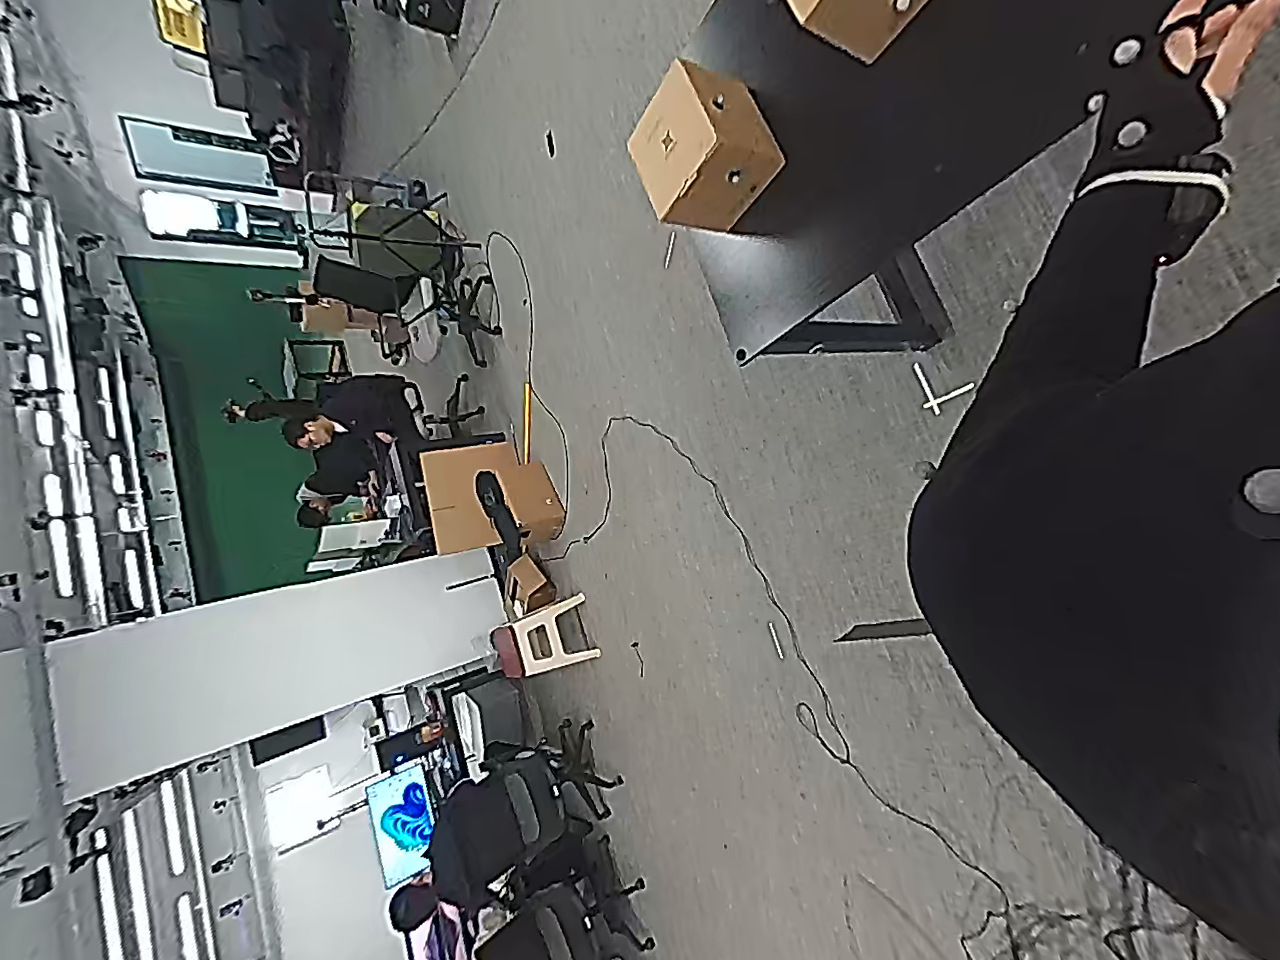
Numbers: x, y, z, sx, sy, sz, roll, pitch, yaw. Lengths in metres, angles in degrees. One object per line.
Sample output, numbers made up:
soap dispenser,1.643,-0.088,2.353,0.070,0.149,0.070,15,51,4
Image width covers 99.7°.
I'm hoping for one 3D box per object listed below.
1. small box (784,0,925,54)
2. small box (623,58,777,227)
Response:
small box,0.273,-0.683,0.669,0.168,0.176,0.179,-33,73,52
small box,0.104,-0.561,0.929,0.168,0.176,0.179,-37,69,49
